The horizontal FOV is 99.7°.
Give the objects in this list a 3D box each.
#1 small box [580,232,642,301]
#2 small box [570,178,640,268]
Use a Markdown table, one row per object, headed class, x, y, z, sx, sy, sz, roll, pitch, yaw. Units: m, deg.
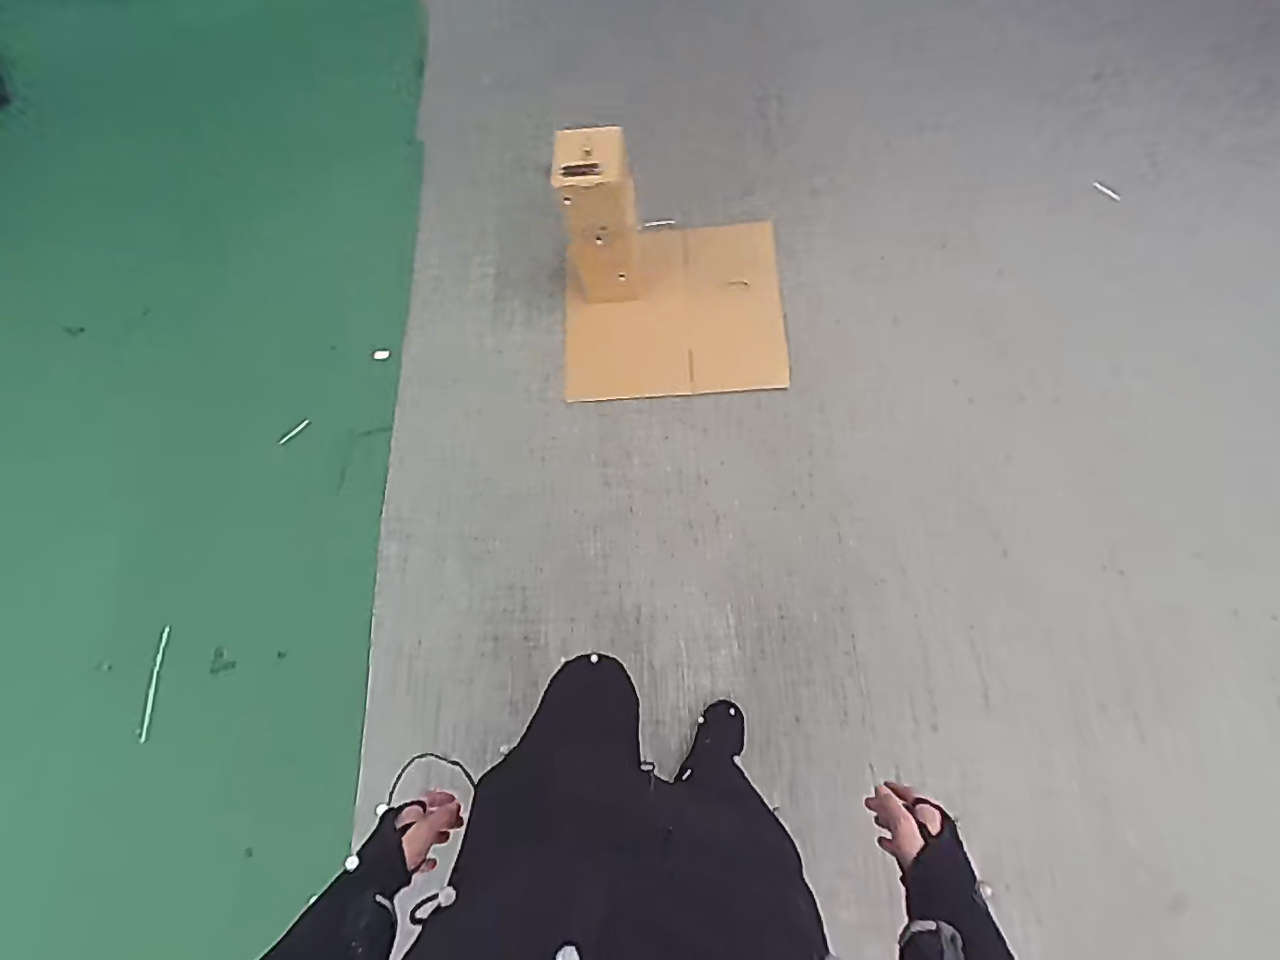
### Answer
| class | x | y | z | sx | sy | sz | roll | pitch | yaw |
| --- | --- | --- | --- | --- | --- | --- | --- | --- | --- |
| small box | -0.085 | -0.682 | 1.702 | 0.179 | 0.176 | 0.168 | -1 | 73 | 5 |
| small box | -0.093 | -0.728 | 1.546 | 0.179 | 0.176 | 0.168 | -2 | 74 | 6 |
